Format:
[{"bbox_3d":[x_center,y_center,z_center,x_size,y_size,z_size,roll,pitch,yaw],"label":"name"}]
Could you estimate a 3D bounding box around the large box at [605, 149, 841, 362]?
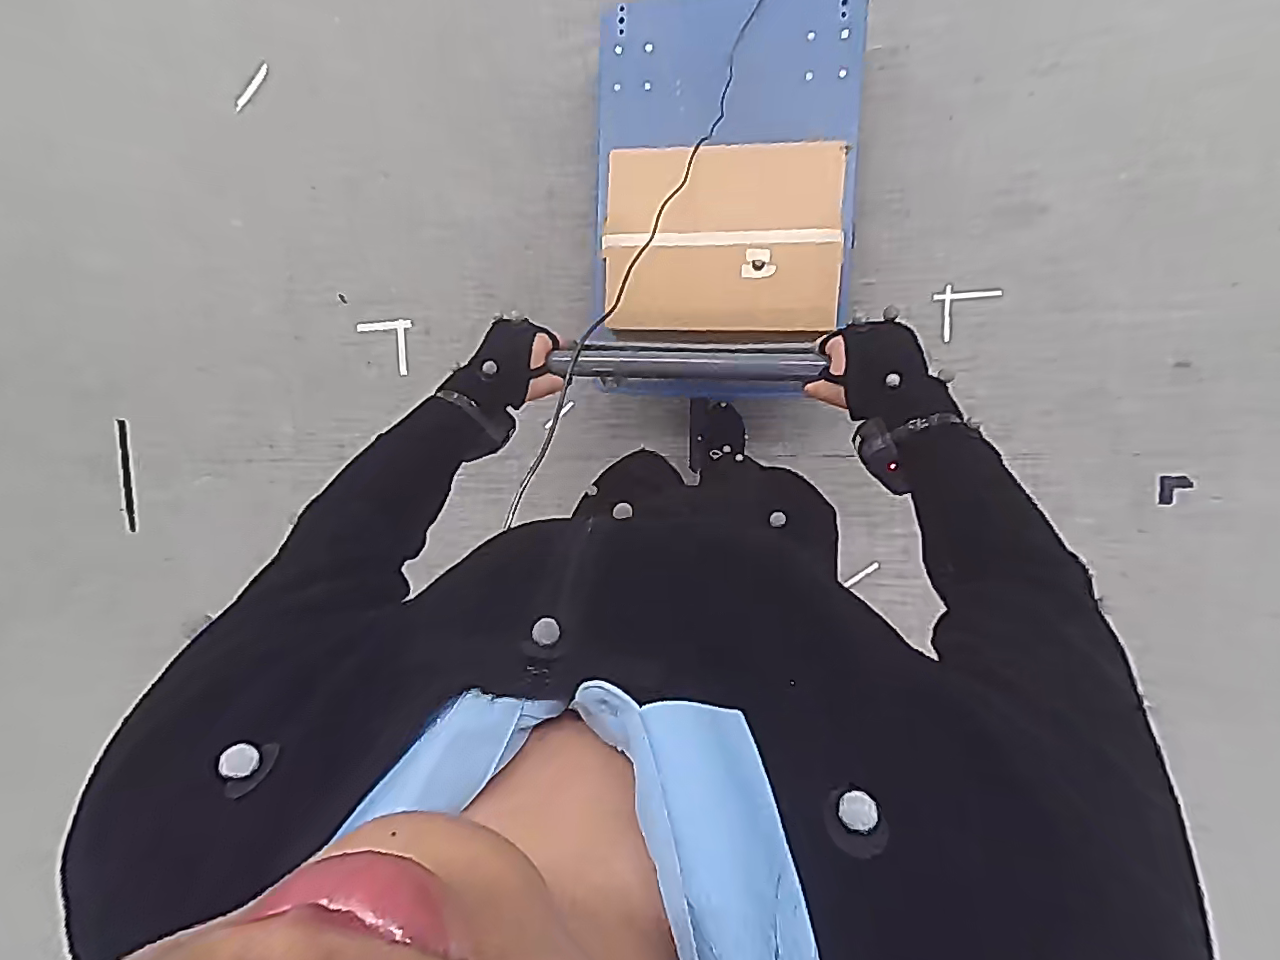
[{"bbox_3d":[0.153,-0.415,1.082,0.408,0.320,0.320,2,95,7],"label":"large box"}]
